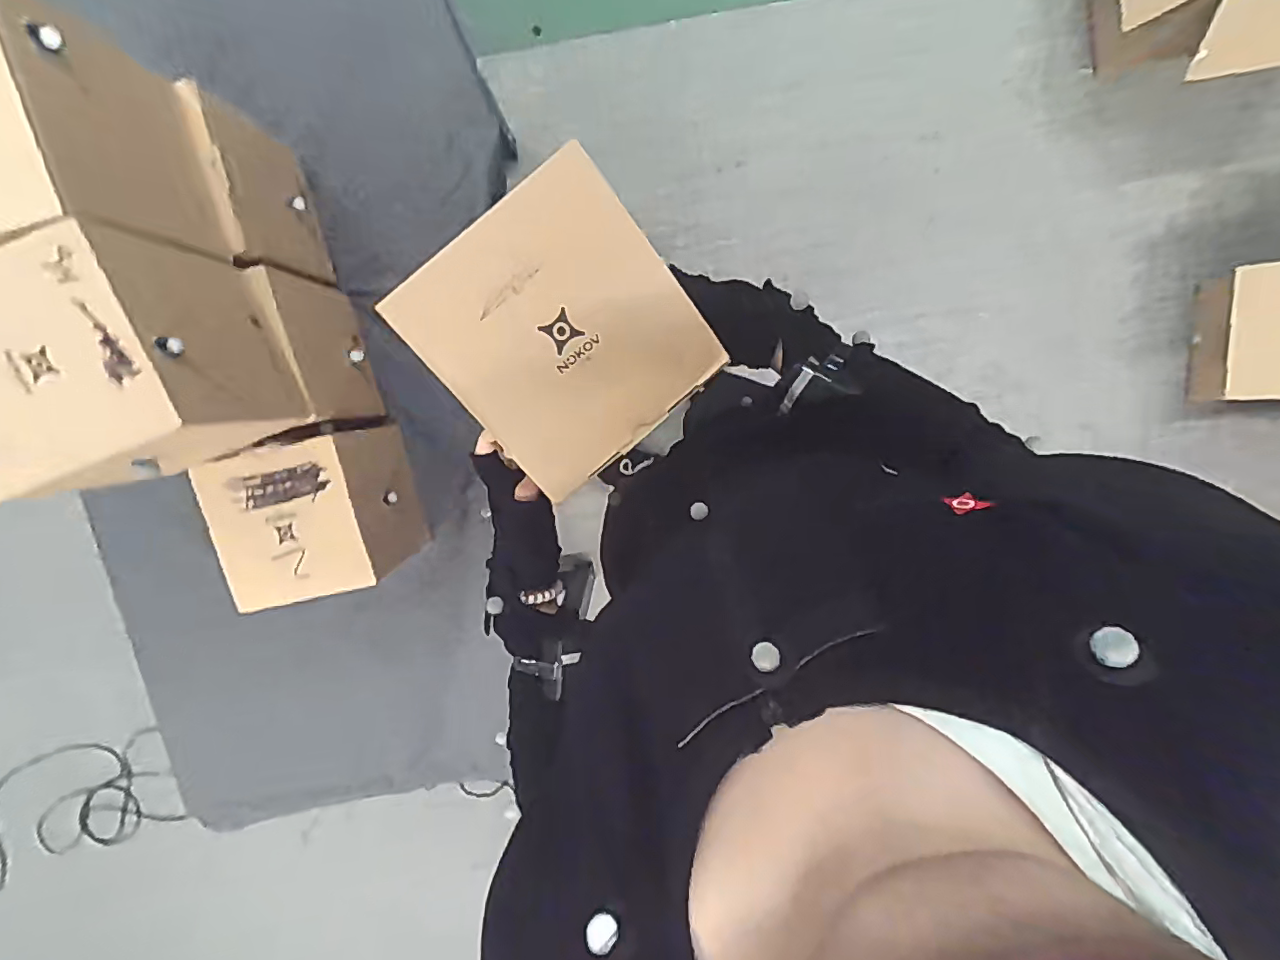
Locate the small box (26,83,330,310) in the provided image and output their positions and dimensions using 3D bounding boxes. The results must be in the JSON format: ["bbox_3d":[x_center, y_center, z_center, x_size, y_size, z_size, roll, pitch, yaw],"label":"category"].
[{"bbox_3d":[-0.501,-0.302,0.617,0.179,0.176,0.168,-12,100,2],"label":"small box"}]

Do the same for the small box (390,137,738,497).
[{"bbox_3d":[-0.056,-0.119,0.434,0.168,0.176,0.179,-39,107,0],"label":"small box"}]
